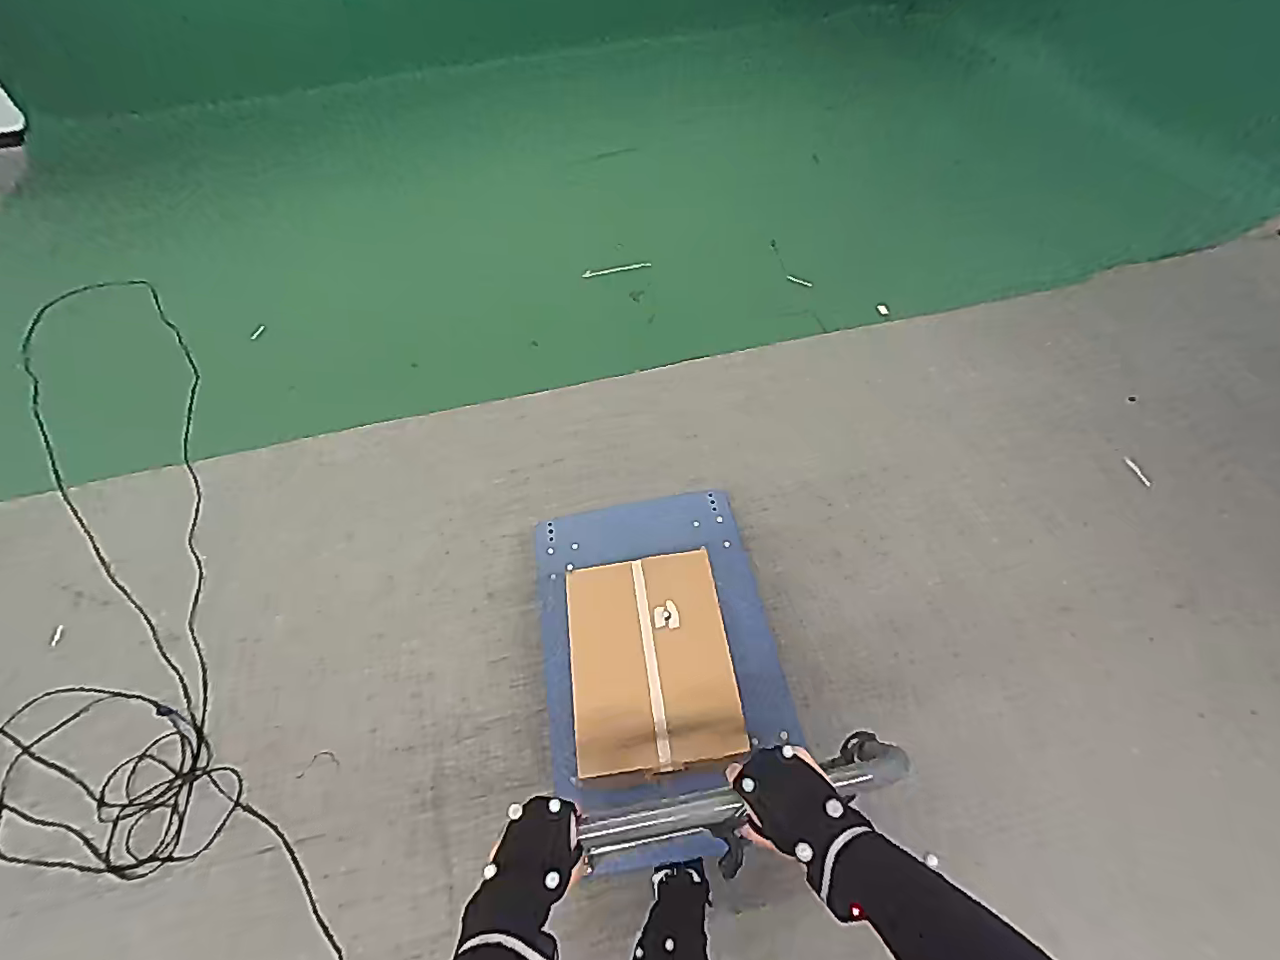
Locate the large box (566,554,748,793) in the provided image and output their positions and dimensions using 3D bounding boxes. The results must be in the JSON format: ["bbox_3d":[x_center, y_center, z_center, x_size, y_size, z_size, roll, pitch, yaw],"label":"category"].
[{"bbox_3d":[0.028,0.430,1.195,0.320,0.320,0.408,-8,56,-1],"label":"large box"}]
